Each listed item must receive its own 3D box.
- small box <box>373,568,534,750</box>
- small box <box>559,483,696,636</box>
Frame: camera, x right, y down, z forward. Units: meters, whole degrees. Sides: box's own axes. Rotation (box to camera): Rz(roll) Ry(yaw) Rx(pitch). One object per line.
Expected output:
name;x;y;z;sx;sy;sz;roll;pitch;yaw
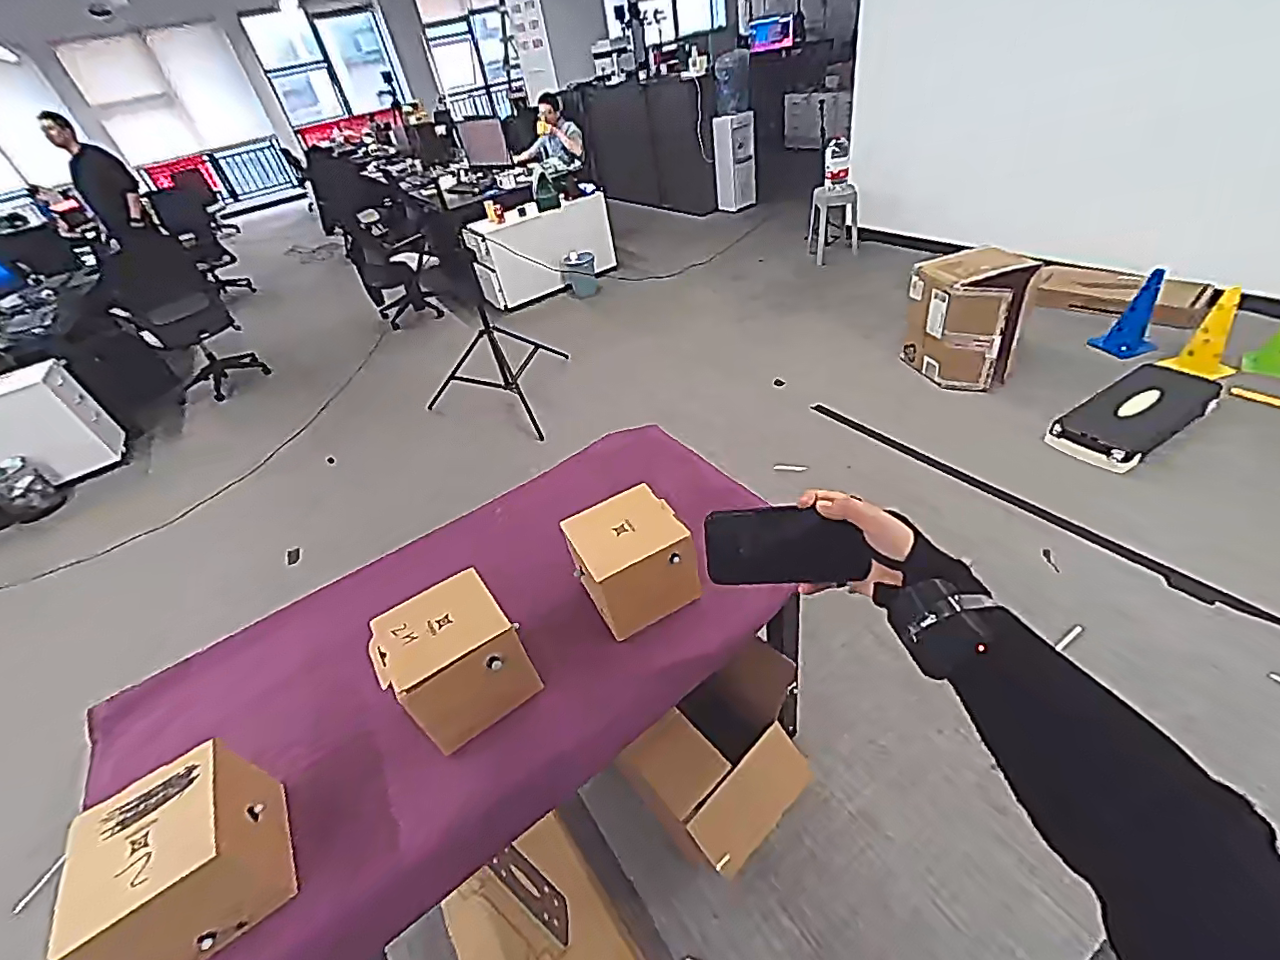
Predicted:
small box;-0.286;0.281;0.859;0.179;0.176;0.168;-31;40;-21
small box;-0.017;0.142;0.958;0.179;0.176;0.168;-25;41;-16
